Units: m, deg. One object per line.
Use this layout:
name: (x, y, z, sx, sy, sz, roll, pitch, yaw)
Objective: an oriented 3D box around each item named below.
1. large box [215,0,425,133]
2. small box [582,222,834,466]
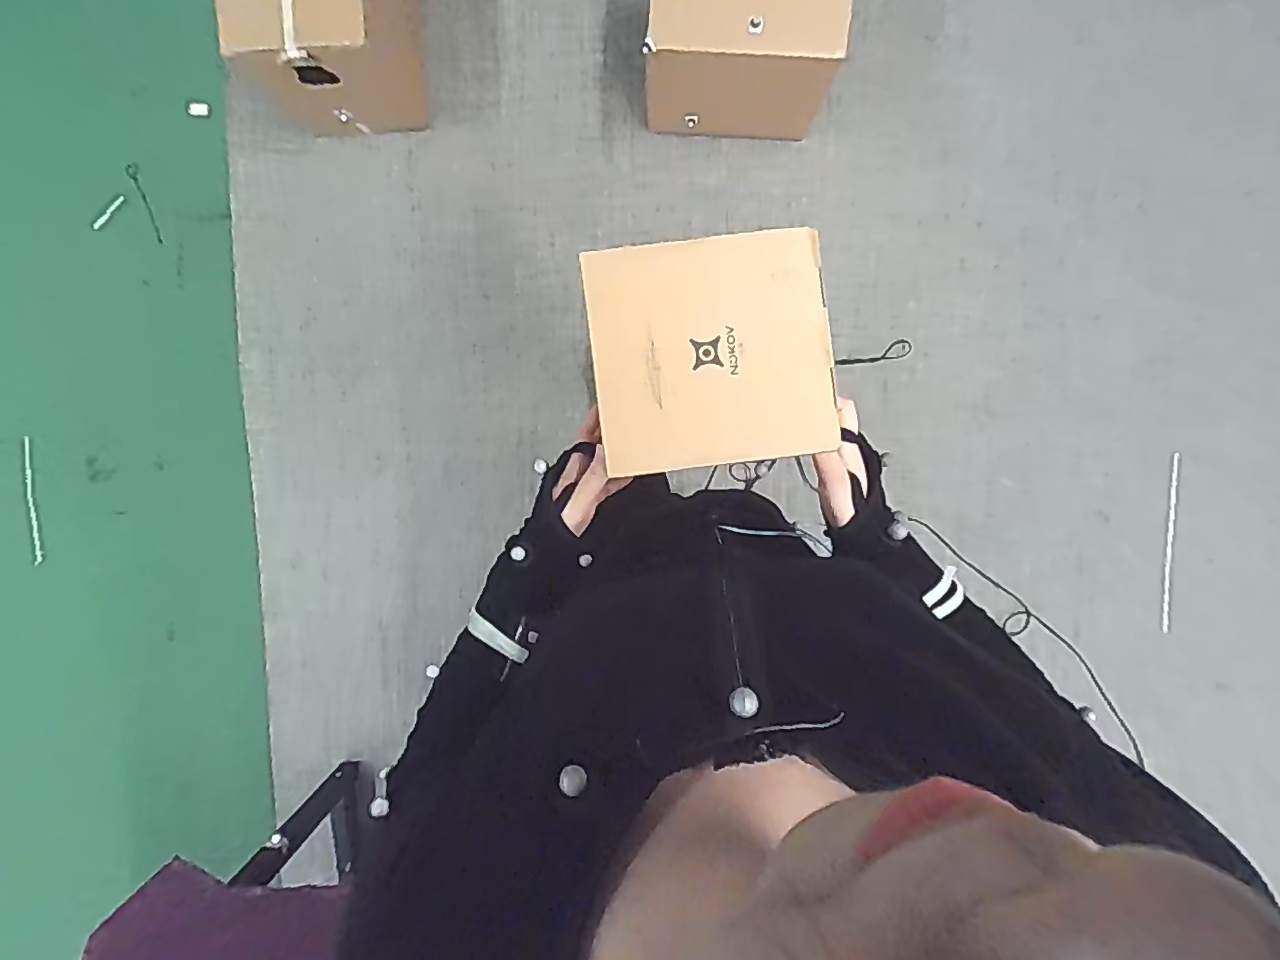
large box: (-0.722, -1.101, 1.251, 0.320, 0.320, 0.408, -1, 94, 2)
small box: (0.048, -0.102, 0.474, 0.179, 0.176, 0.168, -6, 91, 0)
